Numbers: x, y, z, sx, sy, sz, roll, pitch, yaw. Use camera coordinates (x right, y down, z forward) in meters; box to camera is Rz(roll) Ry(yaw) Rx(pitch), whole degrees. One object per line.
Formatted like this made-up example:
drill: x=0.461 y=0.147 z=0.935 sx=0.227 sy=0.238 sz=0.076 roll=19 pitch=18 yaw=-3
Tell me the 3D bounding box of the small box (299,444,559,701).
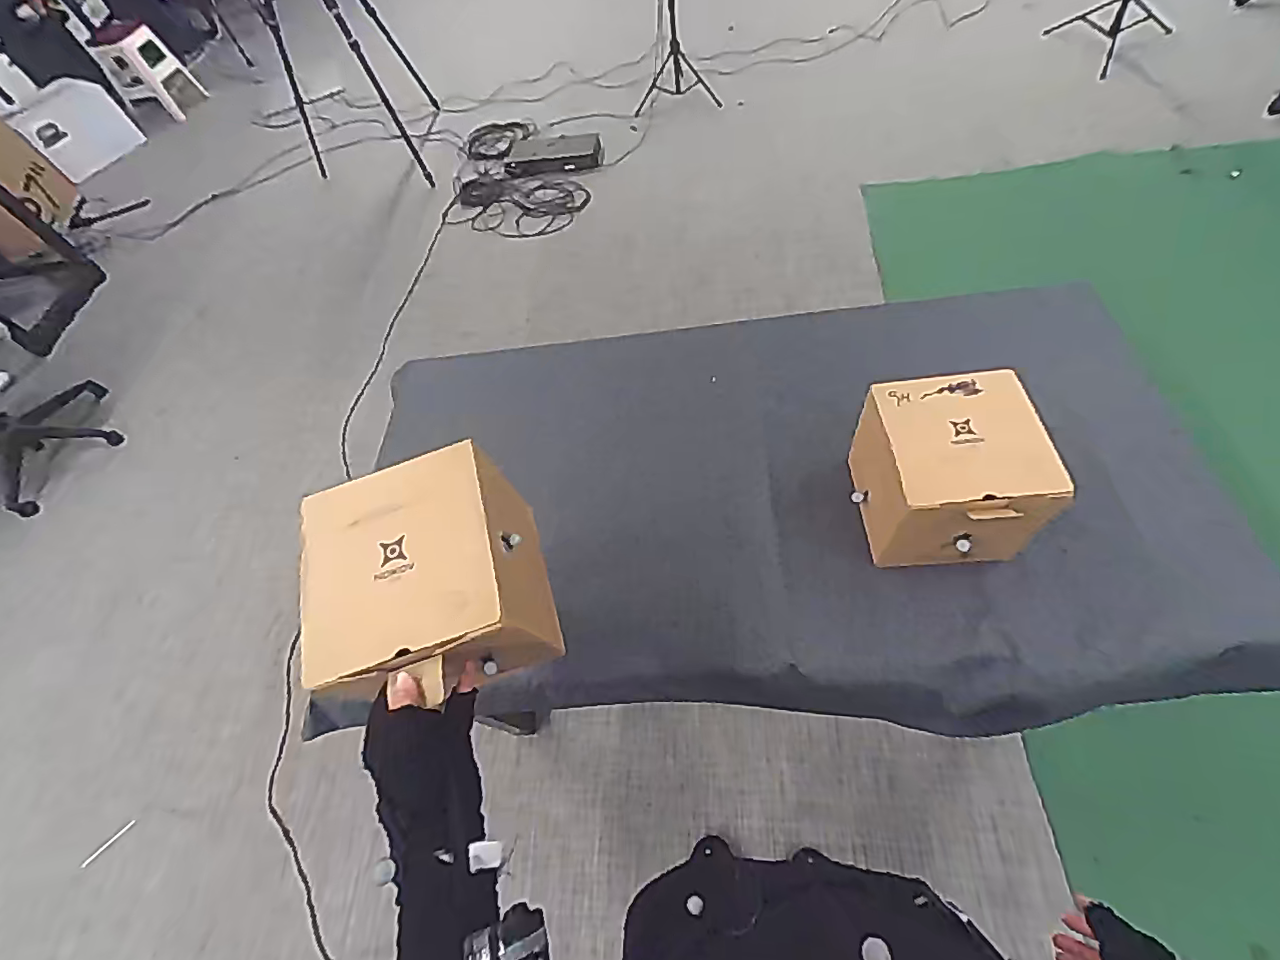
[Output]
small box: x=-0.189 y=0.100 z=0.515 sx=0.168 sy=0.176 sz=0.179 roll=-19 pitch=61 yaw=0
